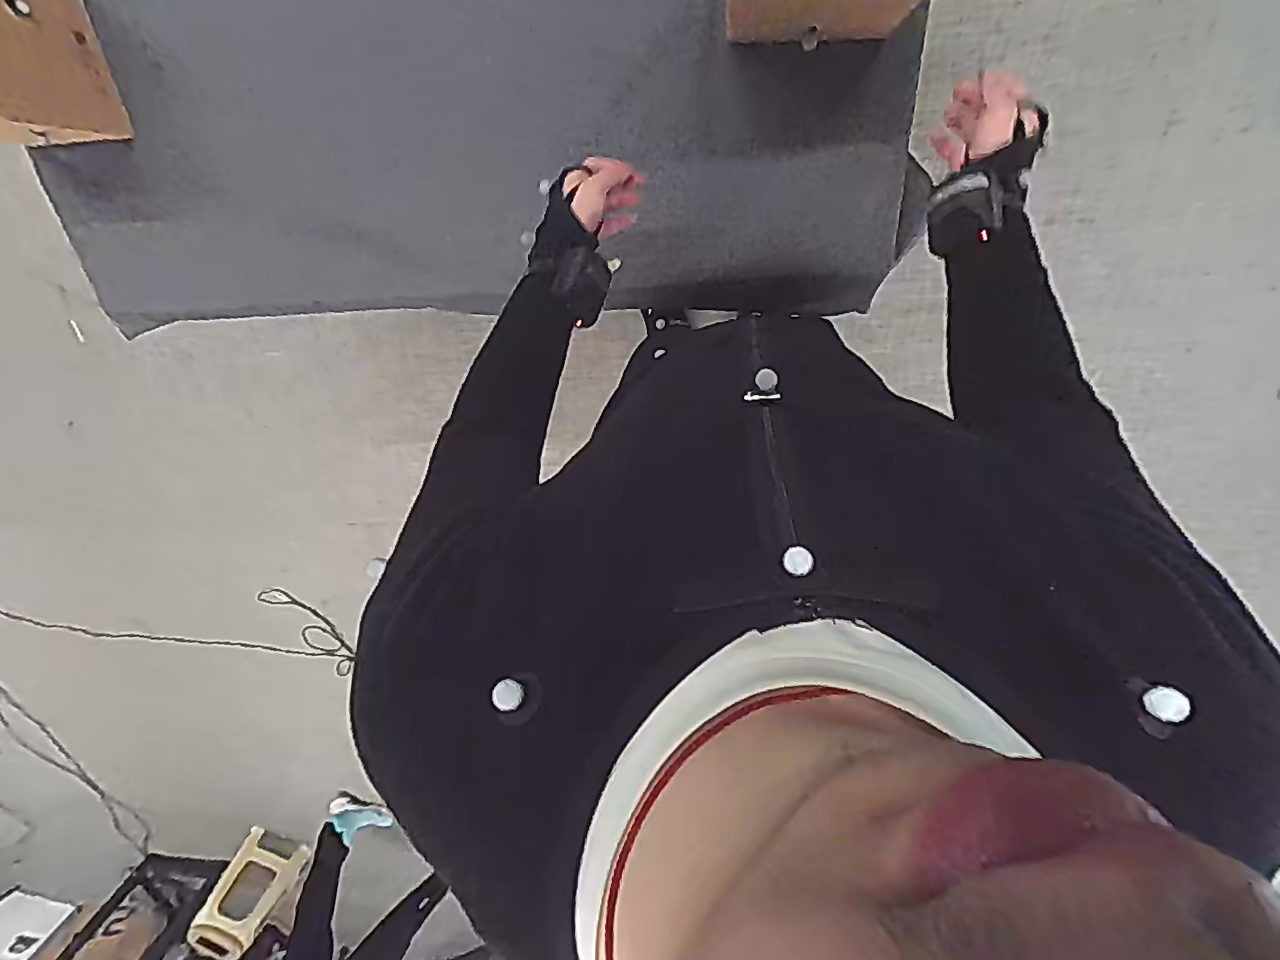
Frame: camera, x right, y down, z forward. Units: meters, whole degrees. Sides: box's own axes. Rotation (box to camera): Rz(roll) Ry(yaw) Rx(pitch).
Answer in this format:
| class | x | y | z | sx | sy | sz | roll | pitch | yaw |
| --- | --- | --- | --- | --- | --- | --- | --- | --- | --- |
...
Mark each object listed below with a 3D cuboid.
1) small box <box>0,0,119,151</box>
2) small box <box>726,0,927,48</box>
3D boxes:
| class | x | y | z | sx | sy | sz | roll | pitch | yaw |
| --- | --- | --- | --- | --- | --- | --- | --- | --- | --- |
| small box | -0.793 | -0.505 | 0.651 | 0.179 | 0.176 | 0.168 | 2 | 114 | 7 |
| small box | 0.175 | -0.527 | 0.505 | 0.179 | 0.176 | 0.168 | 3 | 117 | 7 |
